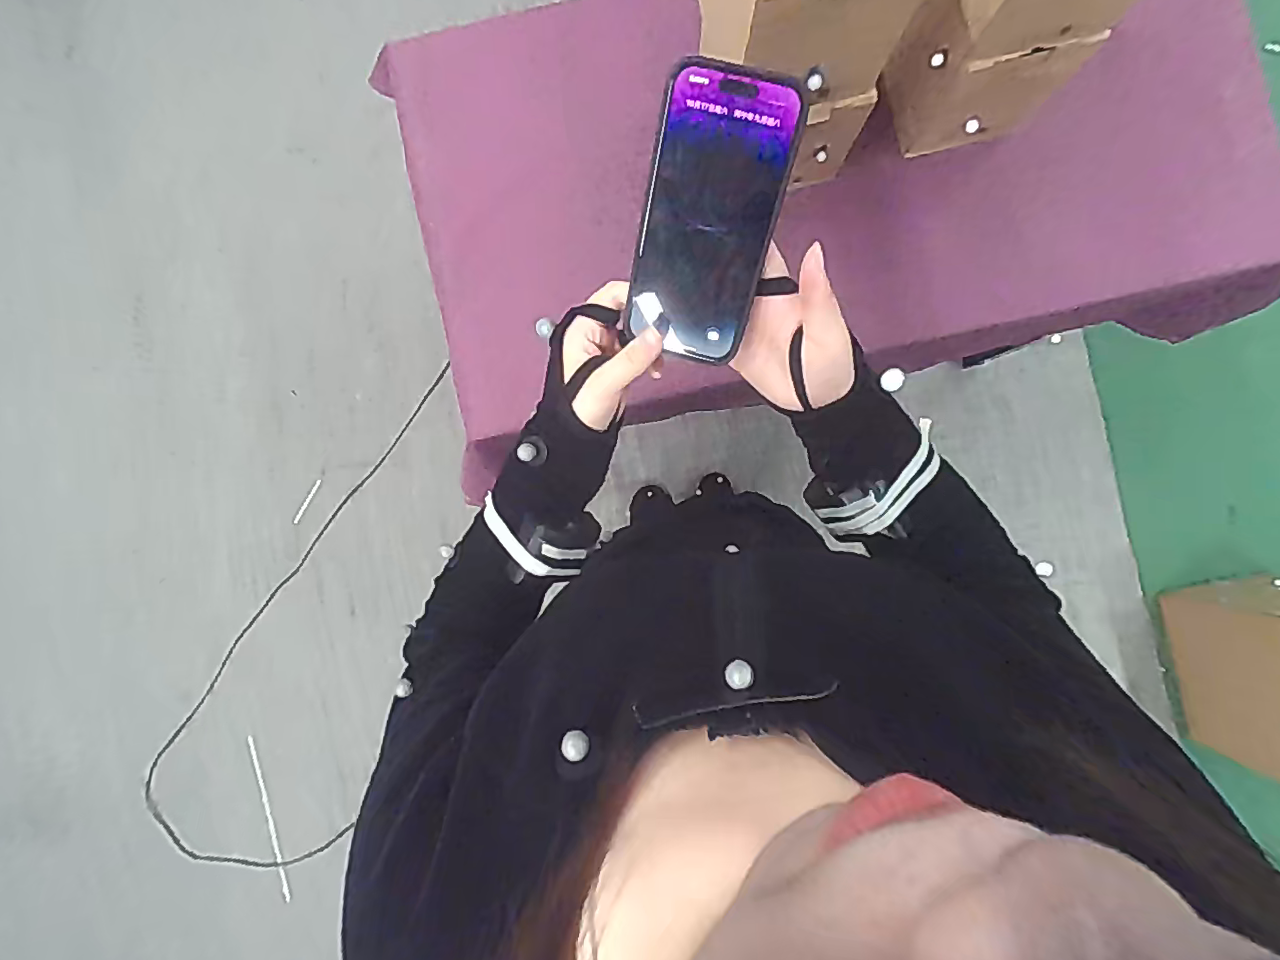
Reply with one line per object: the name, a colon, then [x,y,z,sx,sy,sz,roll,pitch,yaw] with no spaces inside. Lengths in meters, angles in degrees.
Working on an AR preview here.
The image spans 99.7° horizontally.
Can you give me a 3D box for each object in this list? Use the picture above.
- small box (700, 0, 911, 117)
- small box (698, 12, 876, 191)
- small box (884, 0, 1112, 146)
small box: [0.156,-0.511,0.532,0.168,0.176,0.179,-14,89,2]
small box: [0.176,-0.503,0.697,0.168,0.176,0.179,-13,89,2]
small box: [0.431,-0.572,0.685,0.168,0.176,0.179,-13,90,2]
